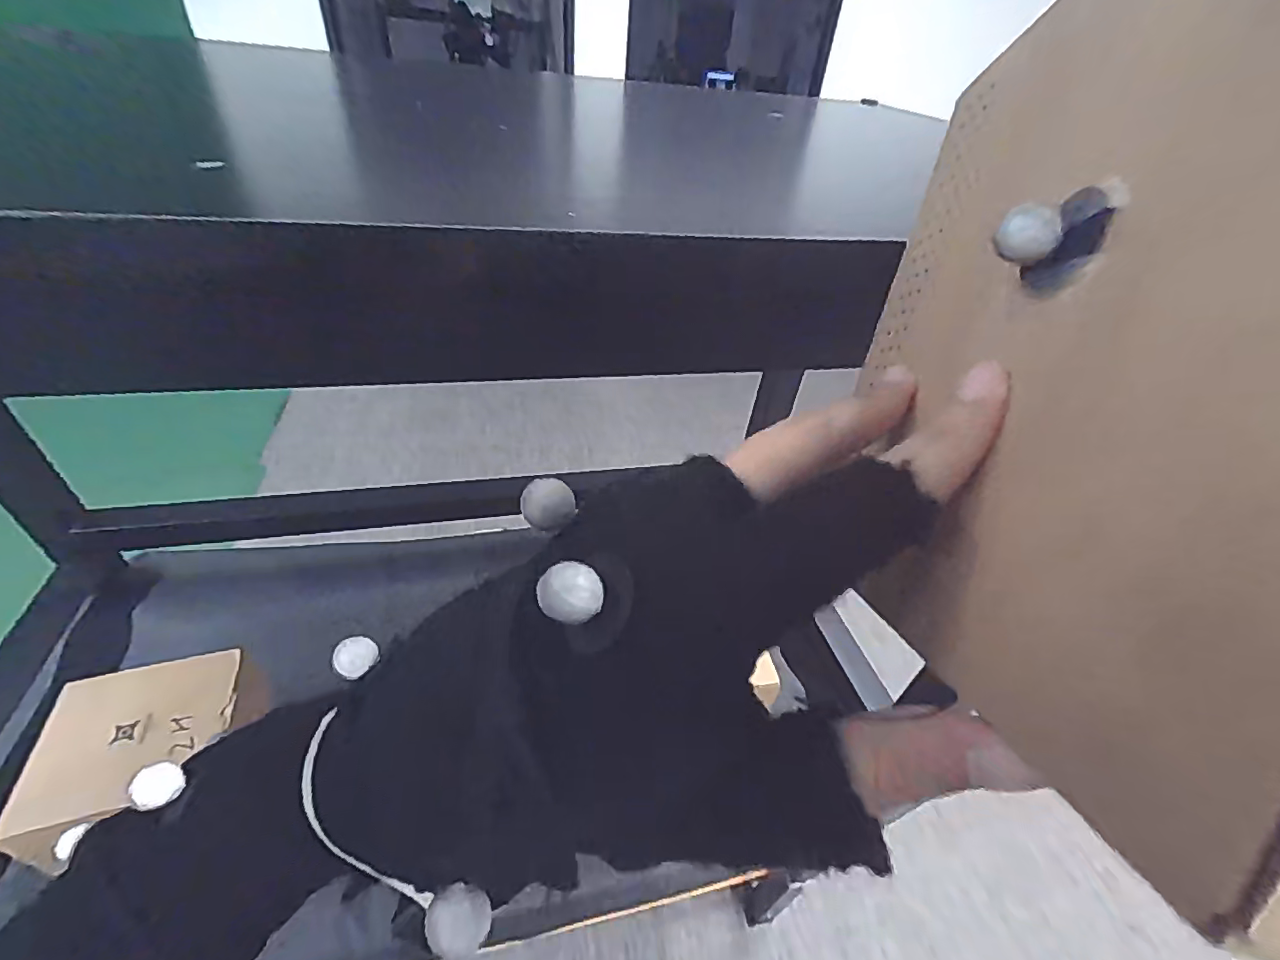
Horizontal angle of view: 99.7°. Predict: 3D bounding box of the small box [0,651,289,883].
[{"bbox_3d":[-0.546,0.333,0.632,0.179,0.176,0.168,-8,42,-17],"label":"small box"}]
